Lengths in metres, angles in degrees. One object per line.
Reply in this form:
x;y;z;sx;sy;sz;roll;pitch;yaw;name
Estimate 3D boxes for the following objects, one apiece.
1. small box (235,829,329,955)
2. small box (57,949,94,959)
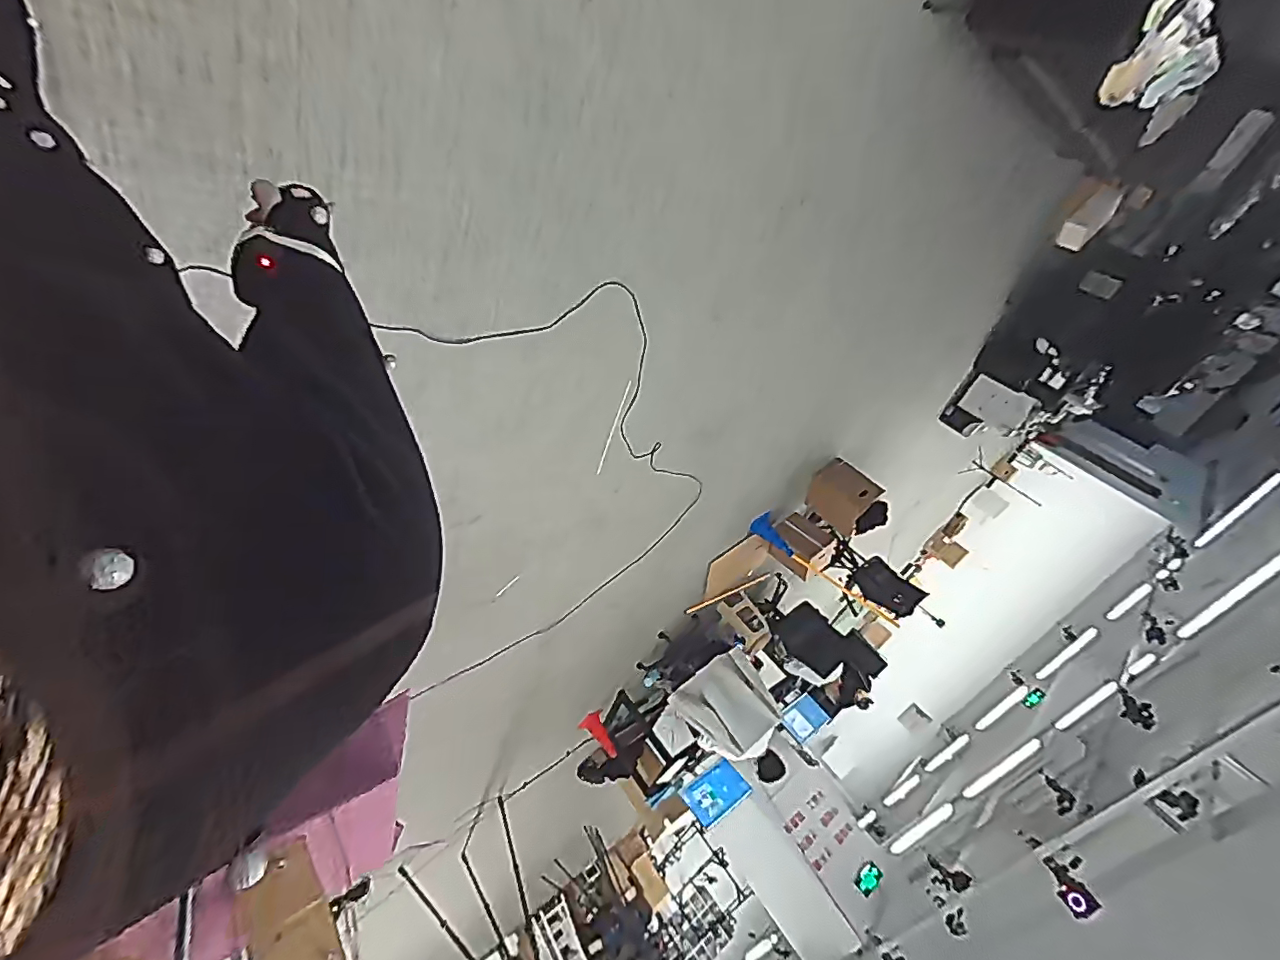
-0.901;1.030;1.365;0.168;0.176;0.179;-14;137;-41;small box
-1.215;1.111;1.096;0.168;0.176;0.179;-15;139;-41;small box
